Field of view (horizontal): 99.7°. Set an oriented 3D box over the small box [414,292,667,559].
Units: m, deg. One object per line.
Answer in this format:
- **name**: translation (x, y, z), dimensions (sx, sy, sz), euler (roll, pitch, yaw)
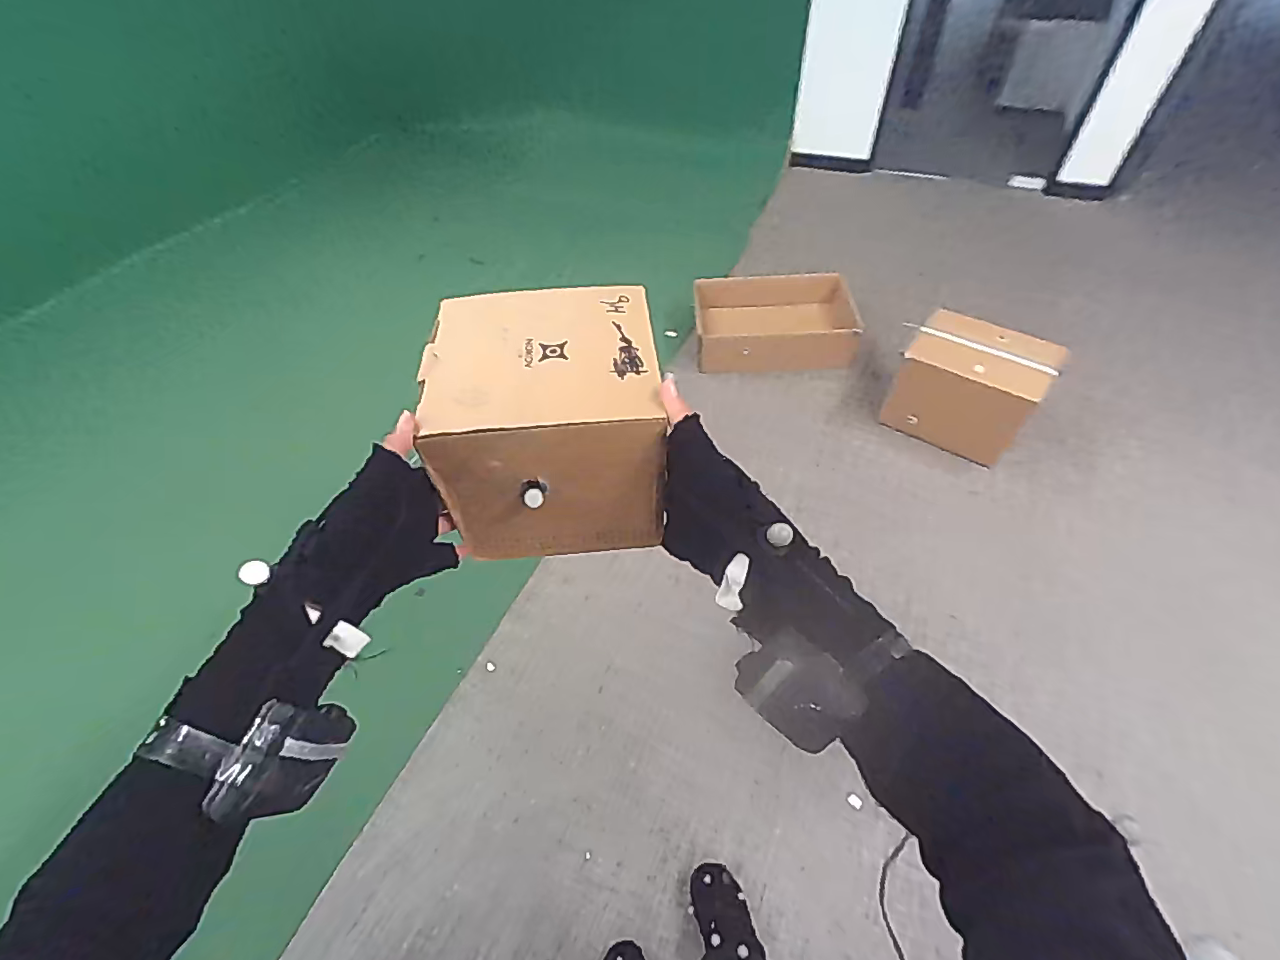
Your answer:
- **small box**: translation (-0.070, -0.042, 0.478), dimensions (0.179, 0.176, 0.168), euler (-5, 51, -2)
